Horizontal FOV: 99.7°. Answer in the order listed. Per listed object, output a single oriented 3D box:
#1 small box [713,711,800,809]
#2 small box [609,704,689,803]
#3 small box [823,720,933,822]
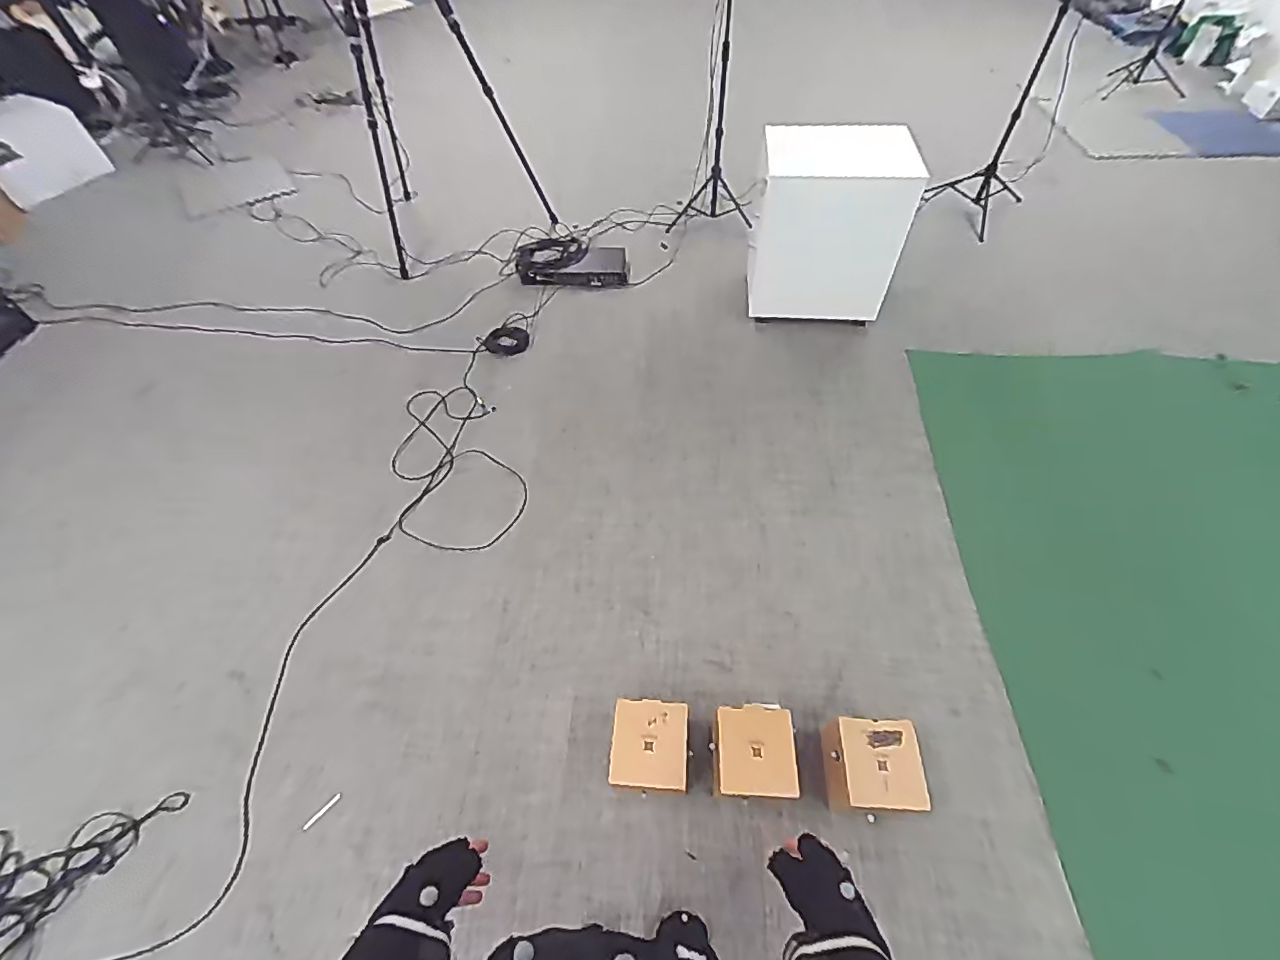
[{"bbox_3d":[0.256,0.640,1.229,0.168,0.176,0.179,1,53,2],"label":"small box"},{"bbox_3d":[0.025,0.631,1.241,0.168,0.176,0.179,3,54,3],"label":"small box"},{"bbox_3d":[0.519,0.653,1.210,0.168,0.176,0.179,1,54,3],"label":"small box"}]
